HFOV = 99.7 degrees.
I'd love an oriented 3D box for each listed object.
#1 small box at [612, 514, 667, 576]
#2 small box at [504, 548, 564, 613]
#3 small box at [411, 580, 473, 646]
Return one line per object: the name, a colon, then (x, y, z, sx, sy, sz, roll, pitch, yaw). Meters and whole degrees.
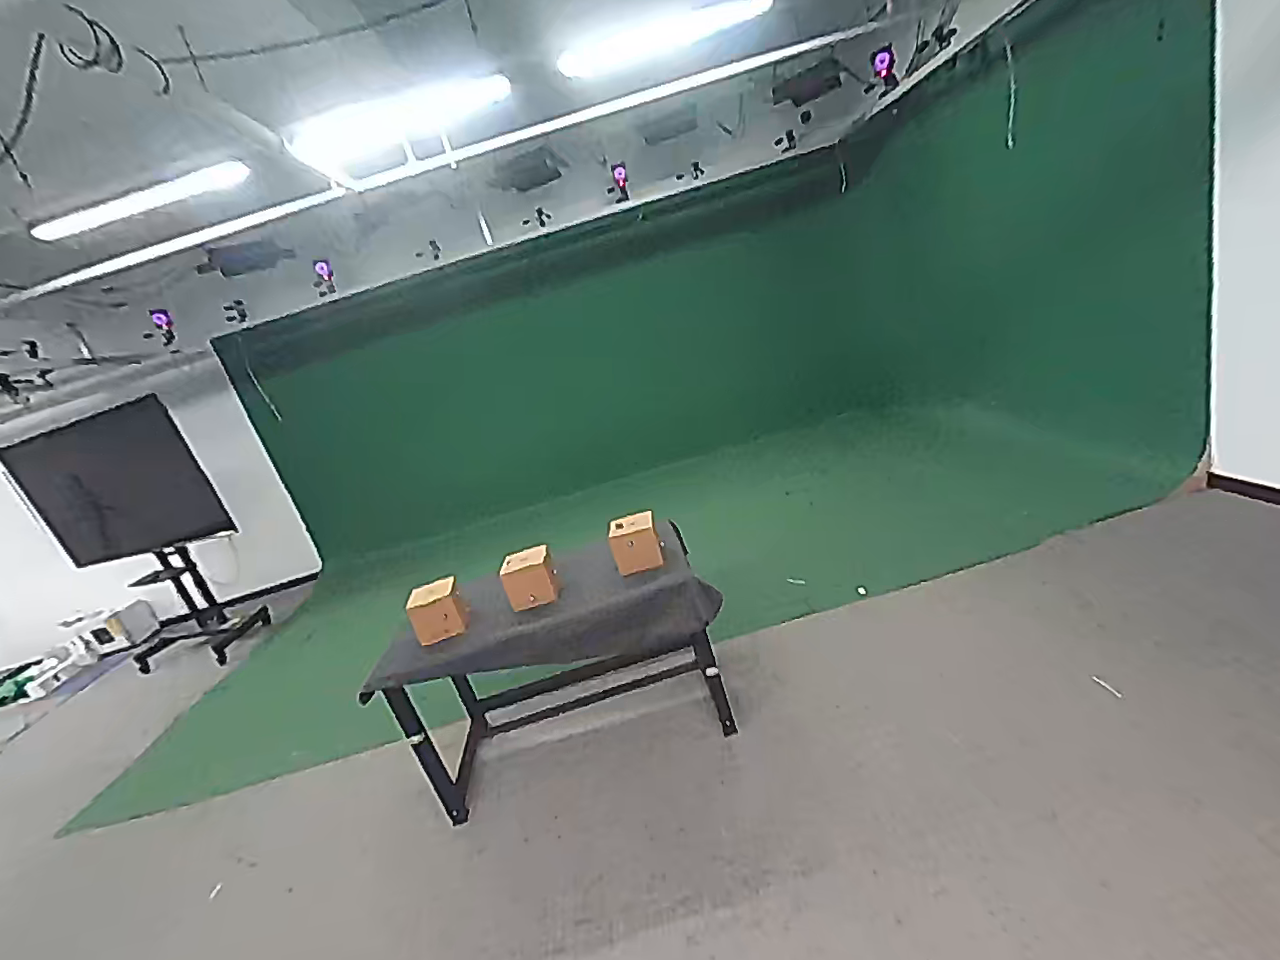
small box: (0.001, 0.258, 2.132, 0.179, 0.176, 0.168, -15, 17, 6)
small box: (-0.408, 0.395, 2.117, 0.179, 0.176, 0.168, -16, 16, 2)
small box: (-0.756, 0.517, 2.085, 0.168, 0.176, 0.179, -18, 14, -9)
